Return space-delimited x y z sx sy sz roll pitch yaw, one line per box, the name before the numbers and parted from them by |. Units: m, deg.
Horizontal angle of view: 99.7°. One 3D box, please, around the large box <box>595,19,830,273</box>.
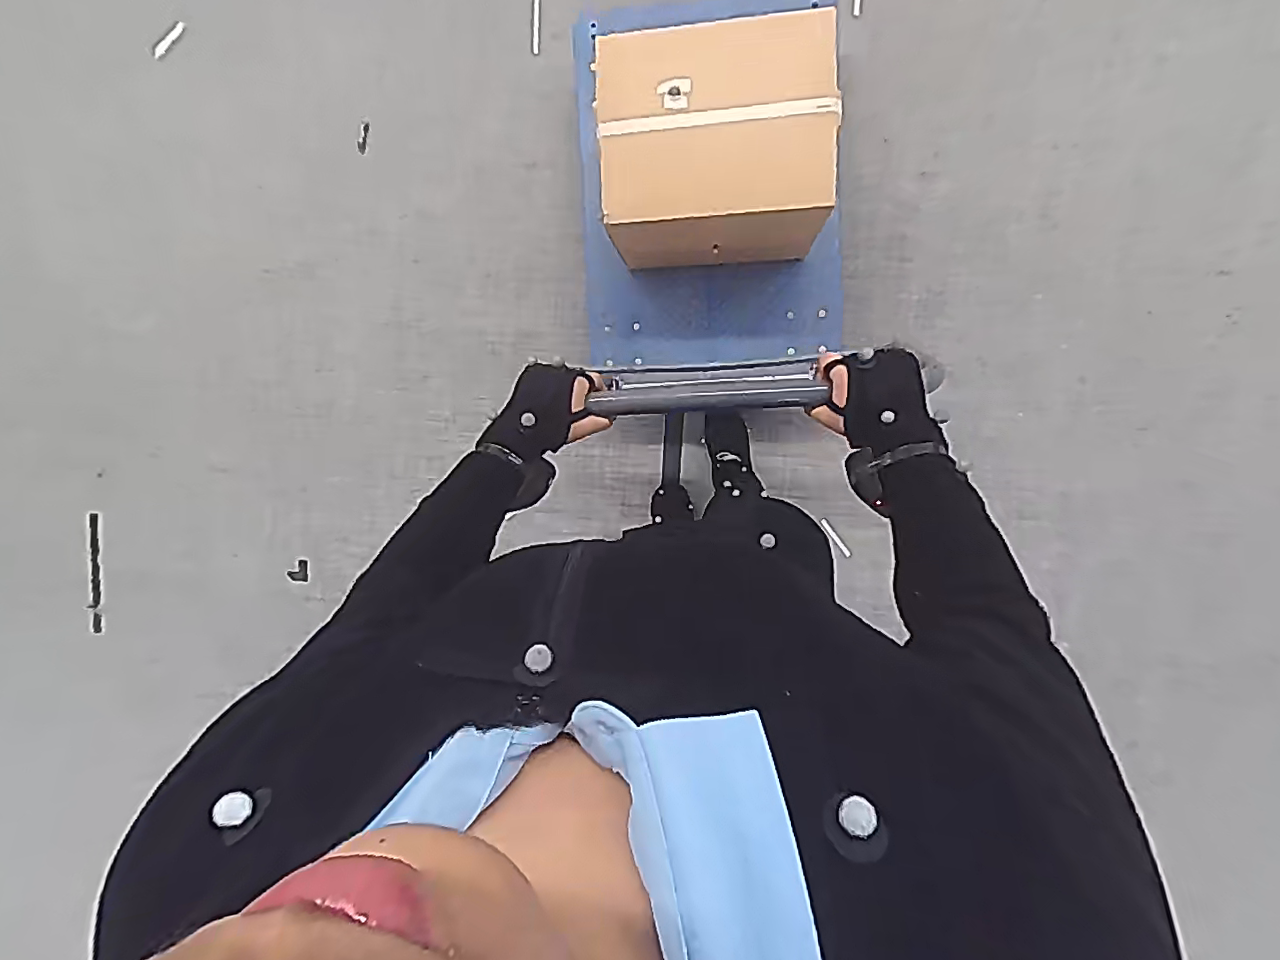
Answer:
large box | 0.146 -0.627 1.088 0.408 0.320 0.320 -1 95 8
